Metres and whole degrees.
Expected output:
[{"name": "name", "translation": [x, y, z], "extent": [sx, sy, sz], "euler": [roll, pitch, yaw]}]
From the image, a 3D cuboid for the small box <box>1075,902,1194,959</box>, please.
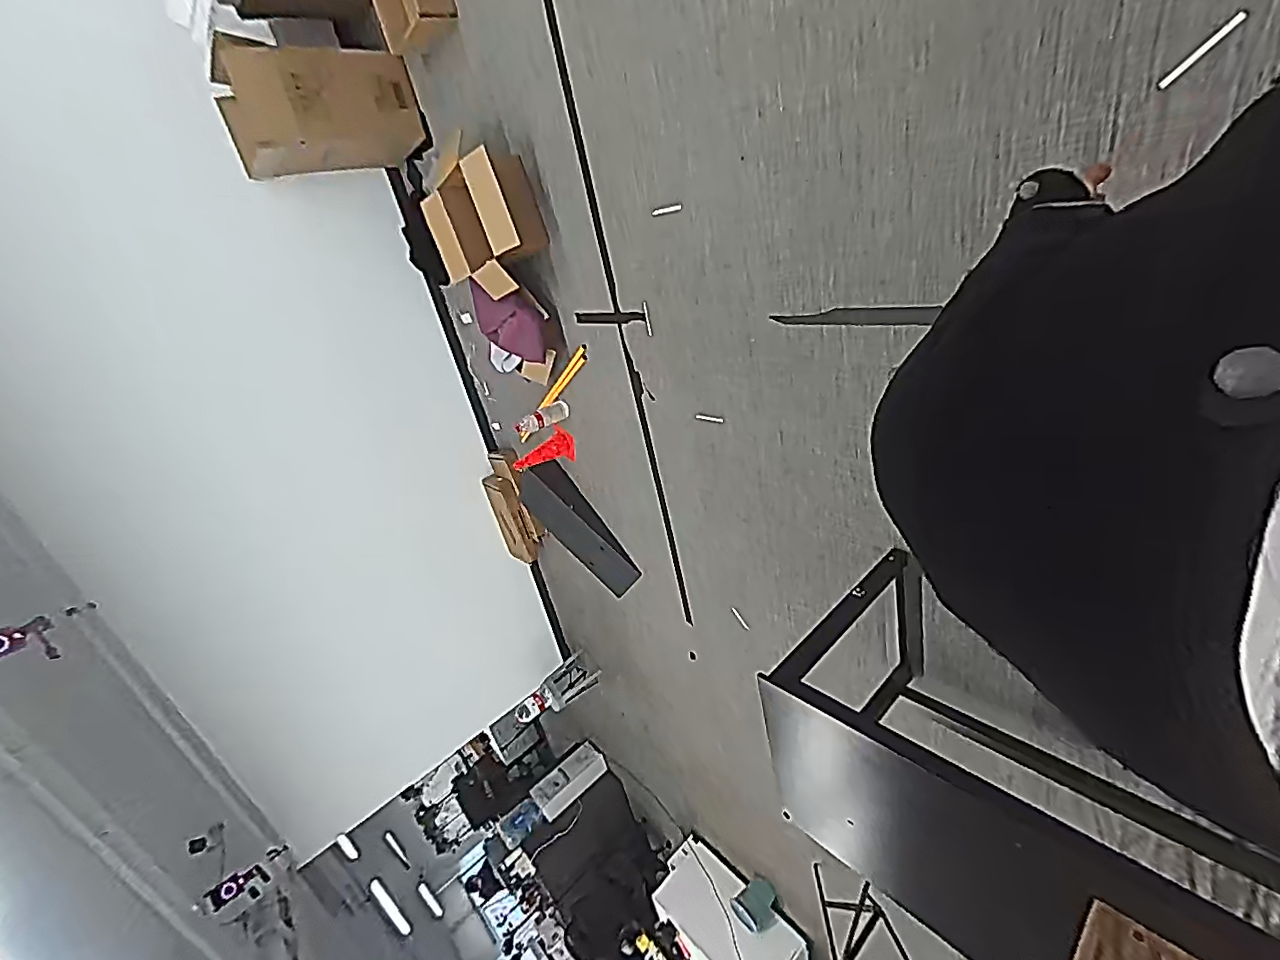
[{"name": "small box", "translation": [0.810, 0.851, 0.878], "extent": [0.168, 0.176, 0.179], "euler": [17, 129, 49]}]
